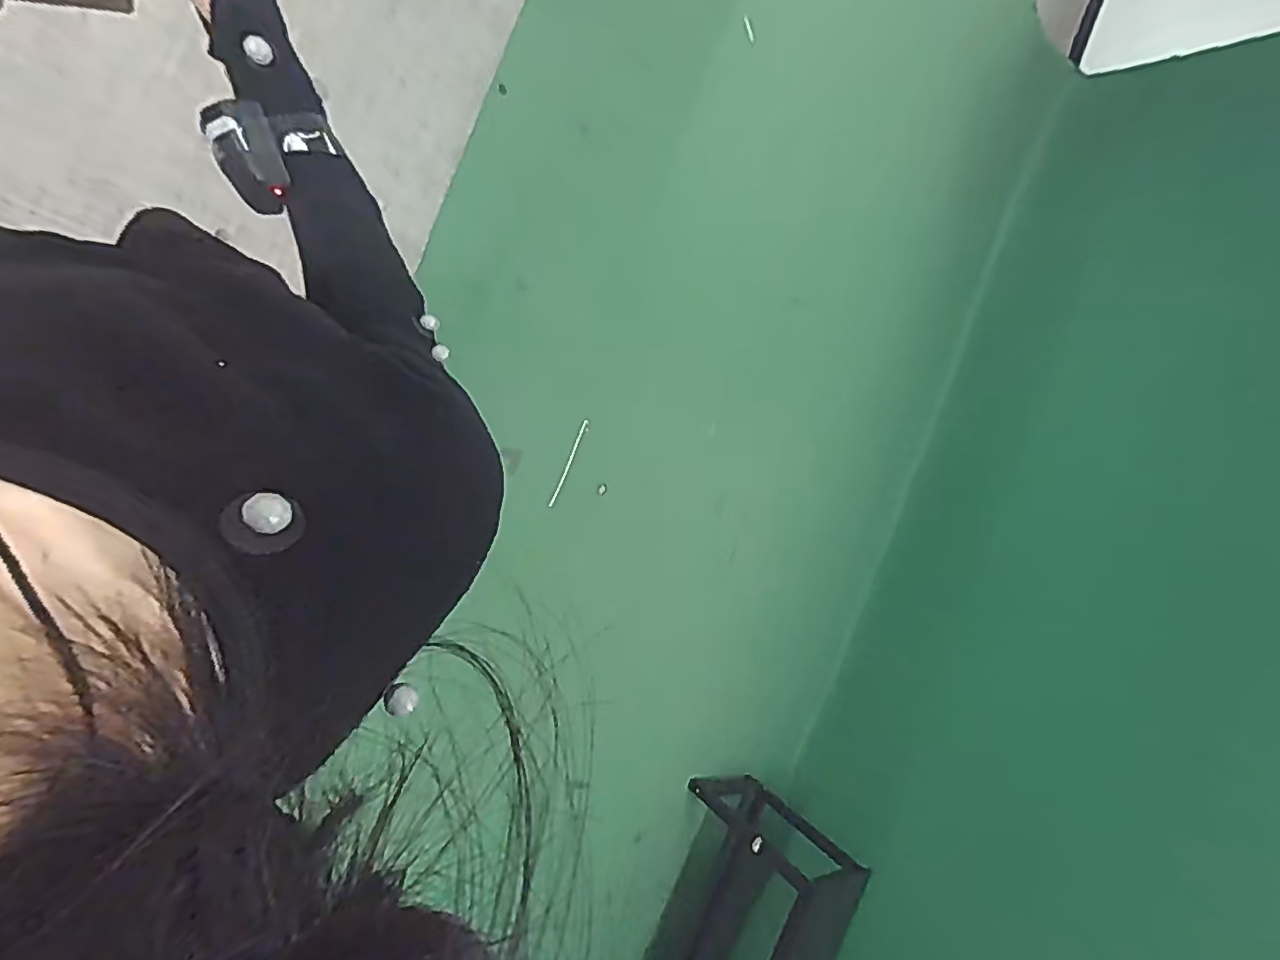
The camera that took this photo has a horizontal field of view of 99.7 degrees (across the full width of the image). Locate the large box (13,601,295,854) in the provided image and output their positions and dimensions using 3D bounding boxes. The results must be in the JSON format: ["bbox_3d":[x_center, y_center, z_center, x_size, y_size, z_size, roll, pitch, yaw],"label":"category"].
[{"bbox_3d":[-1.009,0.477,1.153,0.408,0.320,0.320,3,102,-42],"label":"large box"}]
